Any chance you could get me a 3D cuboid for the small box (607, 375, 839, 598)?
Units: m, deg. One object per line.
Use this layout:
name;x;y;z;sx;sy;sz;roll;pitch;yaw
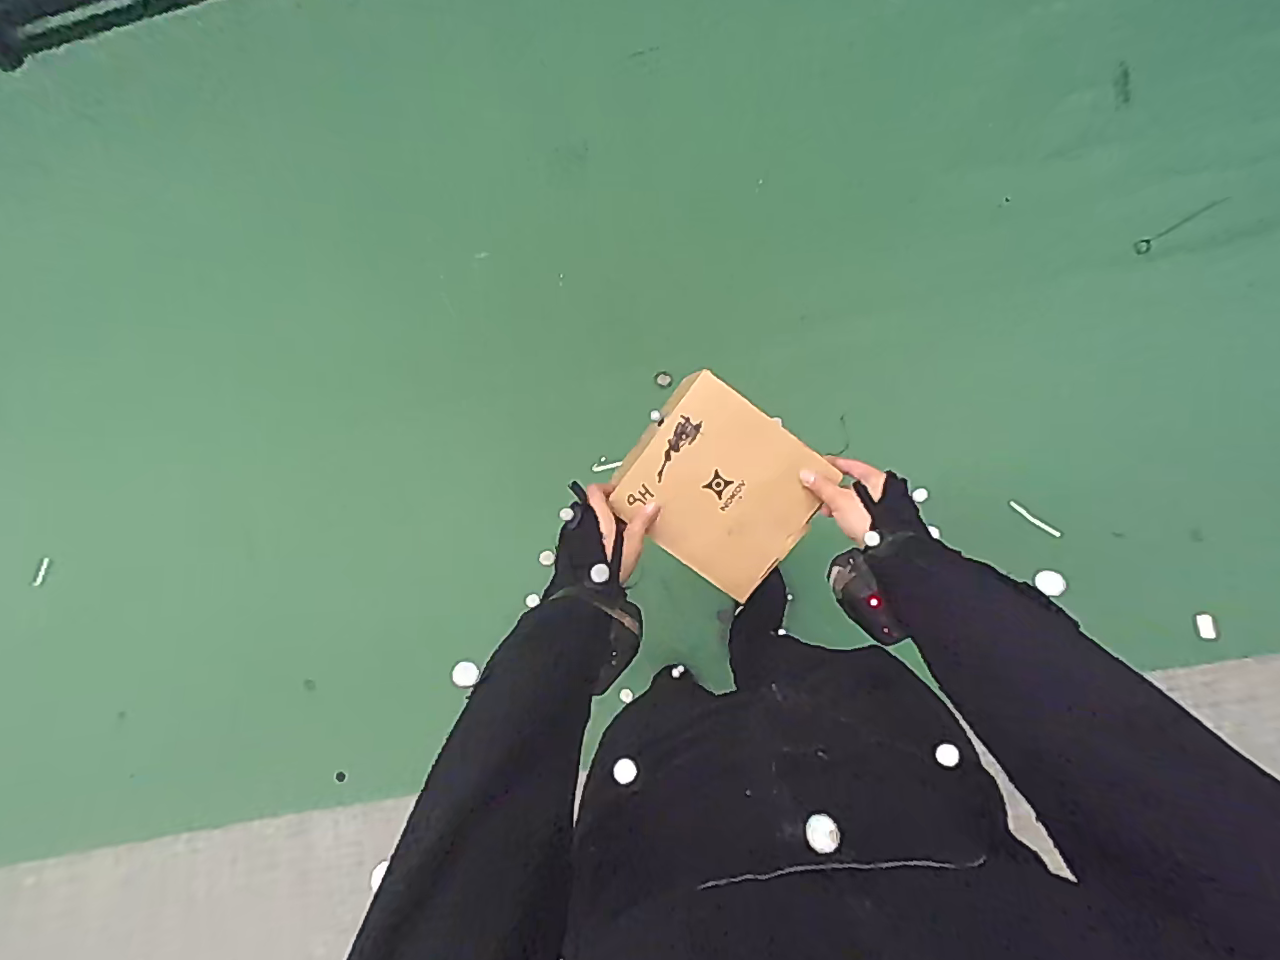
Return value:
small box;0.082;-0.003;0.616;0.179;0.176;0.168;36;96;-6
